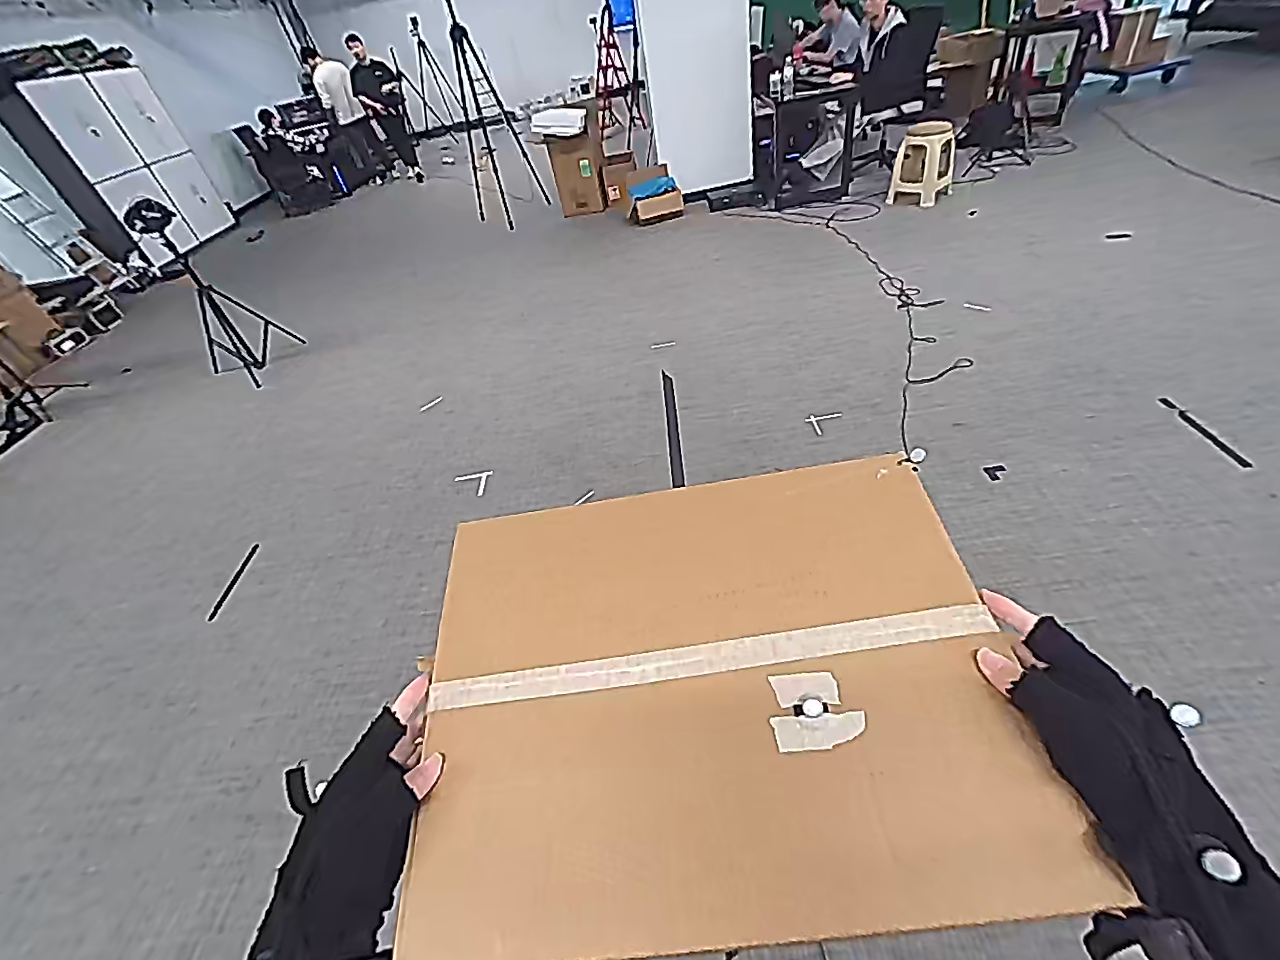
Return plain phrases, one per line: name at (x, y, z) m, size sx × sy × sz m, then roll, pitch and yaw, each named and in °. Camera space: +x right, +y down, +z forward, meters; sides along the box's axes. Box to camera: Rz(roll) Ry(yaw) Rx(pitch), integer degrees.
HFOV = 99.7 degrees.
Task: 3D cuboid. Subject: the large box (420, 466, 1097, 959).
large box at (0.068, 0.228, 0.517) m, size 0.408 × 0.320 × 0.320 m, roll -9°, pitch 52°, yaw 3°
